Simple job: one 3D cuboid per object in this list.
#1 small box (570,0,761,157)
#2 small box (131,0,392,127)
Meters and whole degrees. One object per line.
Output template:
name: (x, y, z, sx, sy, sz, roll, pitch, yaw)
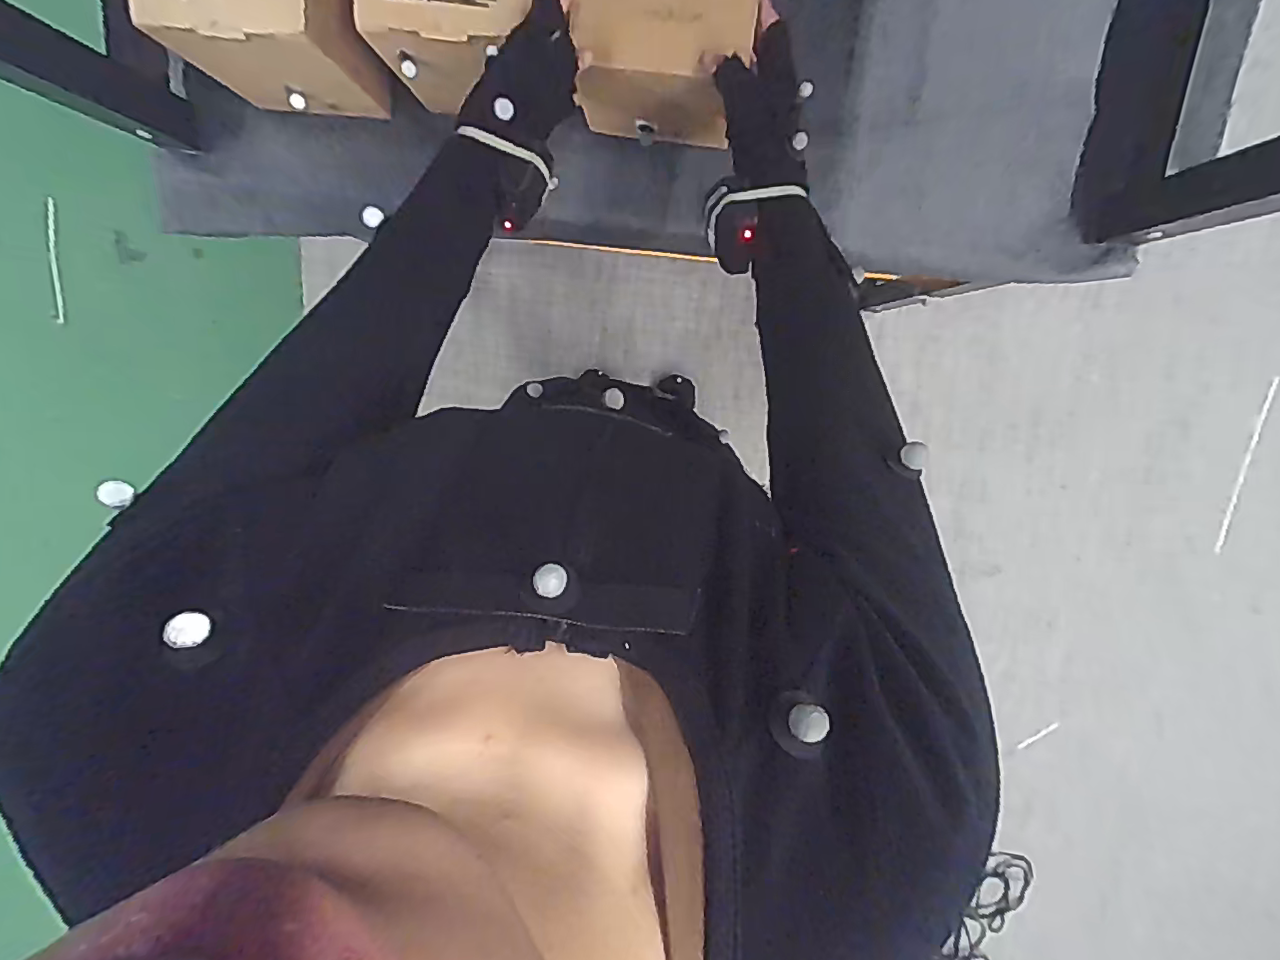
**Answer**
small box: (0.029, -0.461, 0.549, 0.168, 0.176, 0.179, 6, 104, 2)
small box: (-0.376, -0.505, 0.561, 0.168, 0.176, 0.179, 4, 102, 0)
